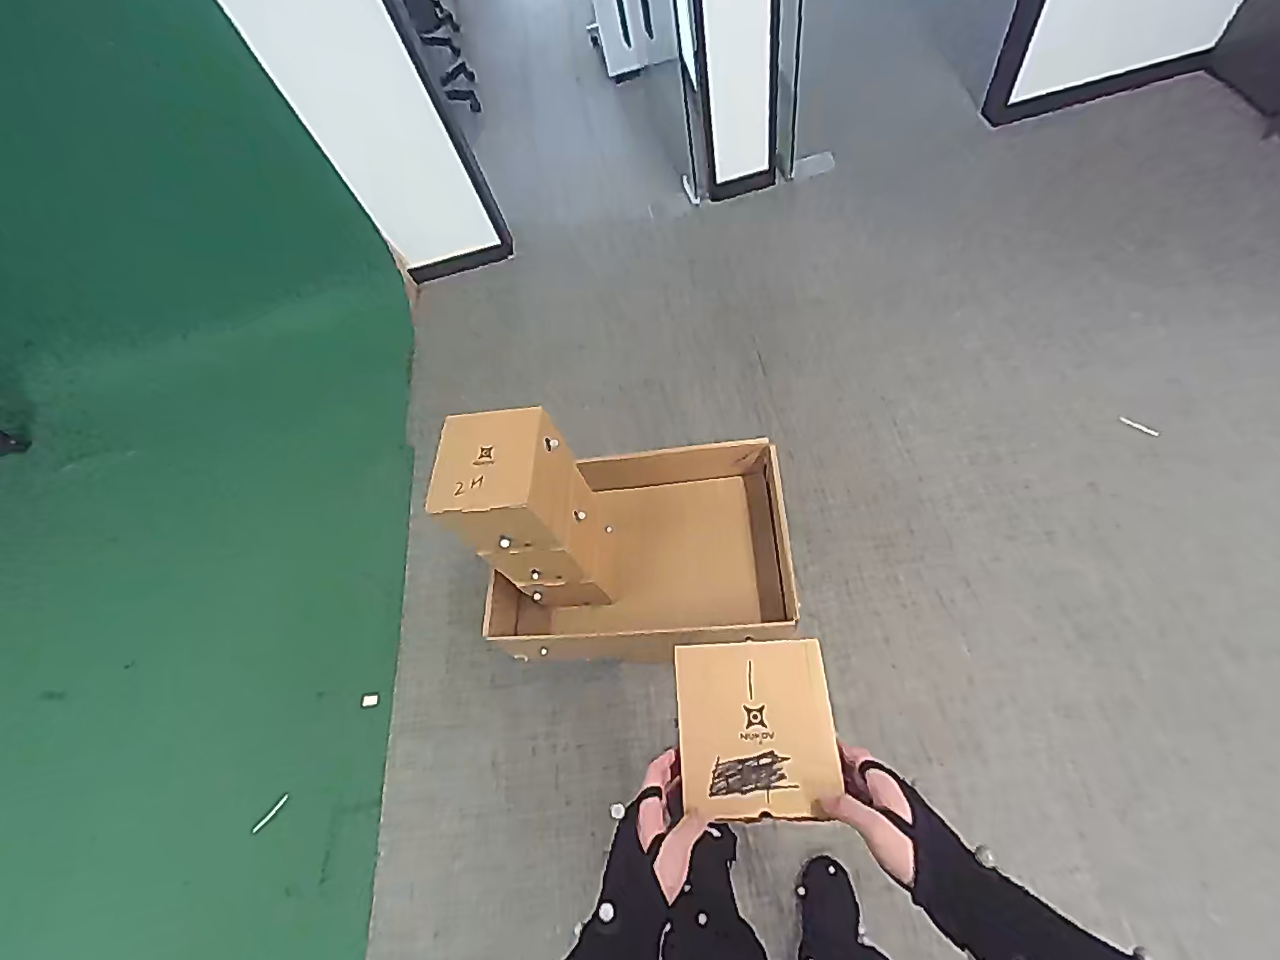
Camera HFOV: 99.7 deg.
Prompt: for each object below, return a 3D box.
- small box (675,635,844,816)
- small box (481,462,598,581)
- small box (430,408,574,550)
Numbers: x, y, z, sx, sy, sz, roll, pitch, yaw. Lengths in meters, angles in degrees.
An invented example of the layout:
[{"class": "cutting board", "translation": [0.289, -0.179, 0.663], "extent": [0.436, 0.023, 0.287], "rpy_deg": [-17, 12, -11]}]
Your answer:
[{"class": "small box", "translation": [0.132, 0.292, 0.650], "extent": [0.168, 0.176, 0.179], "rpy_deg": [-4, 63, 6]}, {"class": "small box", "translation": [-0.181, 0.083, 1.034], "extent": [0.168, 0.176, 0.179], "rpy_deg": [-4, 62, 10]}, {"class": "small box", "translation": [-0.214, 0.003, 0.893], "extent": [0.168, 0.176, 0.179], "rpy_deg": [-4, 62, 11]}]
